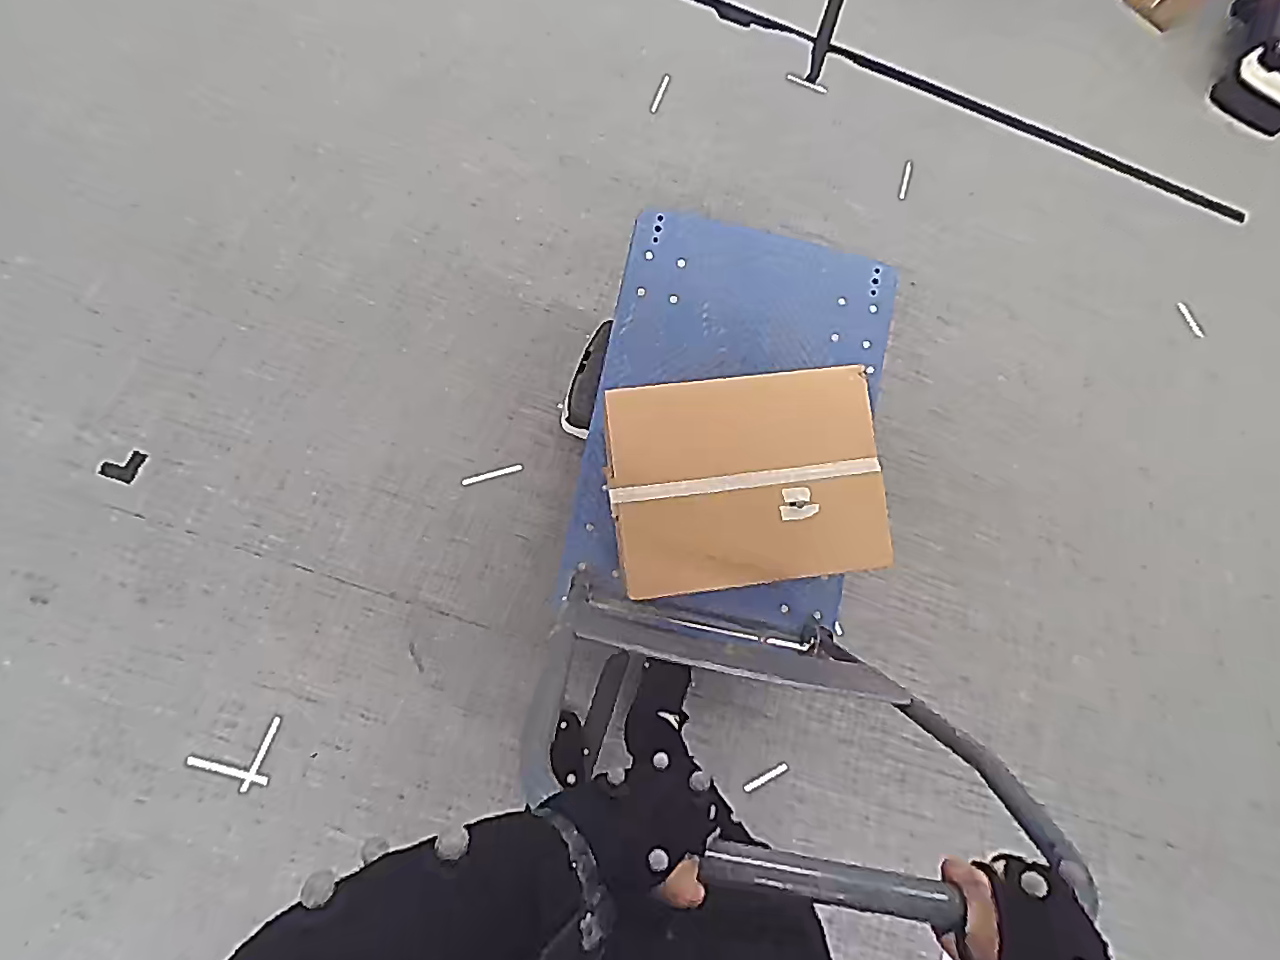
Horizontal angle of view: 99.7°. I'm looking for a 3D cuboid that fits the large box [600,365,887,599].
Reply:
[{"bbox_3d":[0.149,0.010,0.963,0.408,0.320,0.320,-7,87,-6],"label":"large box"}]
